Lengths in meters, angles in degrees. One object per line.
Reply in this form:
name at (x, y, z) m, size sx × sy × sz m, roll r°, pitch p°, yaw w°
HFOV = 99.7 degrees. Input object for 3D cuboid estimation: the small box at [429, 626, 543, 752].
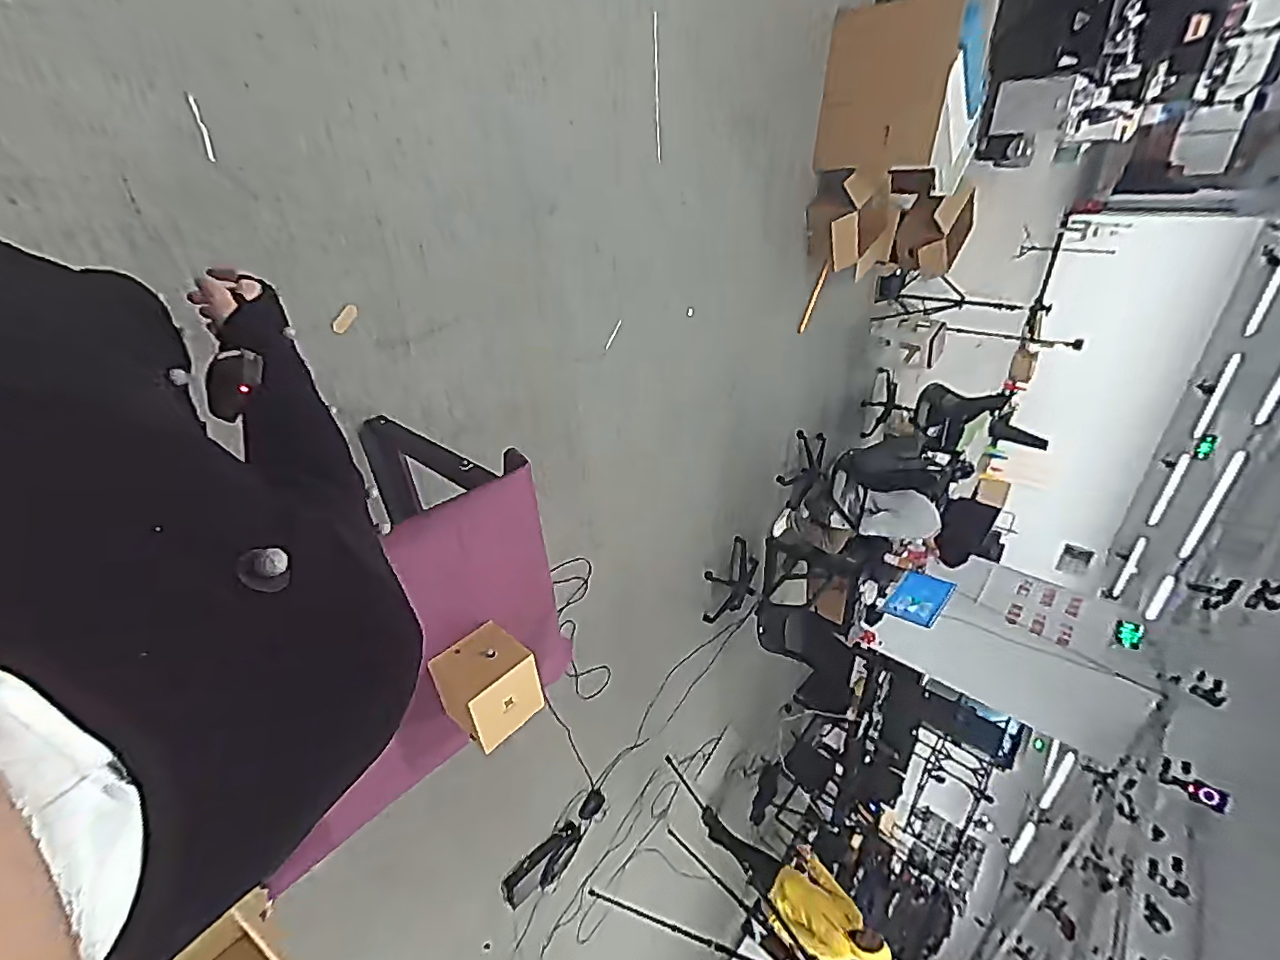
small box at (-0.344, 0.452, 1.208) m, size 0.168 × 0.176 × 0.179 m, roll -32°, pitch 132°, yaw -38°
